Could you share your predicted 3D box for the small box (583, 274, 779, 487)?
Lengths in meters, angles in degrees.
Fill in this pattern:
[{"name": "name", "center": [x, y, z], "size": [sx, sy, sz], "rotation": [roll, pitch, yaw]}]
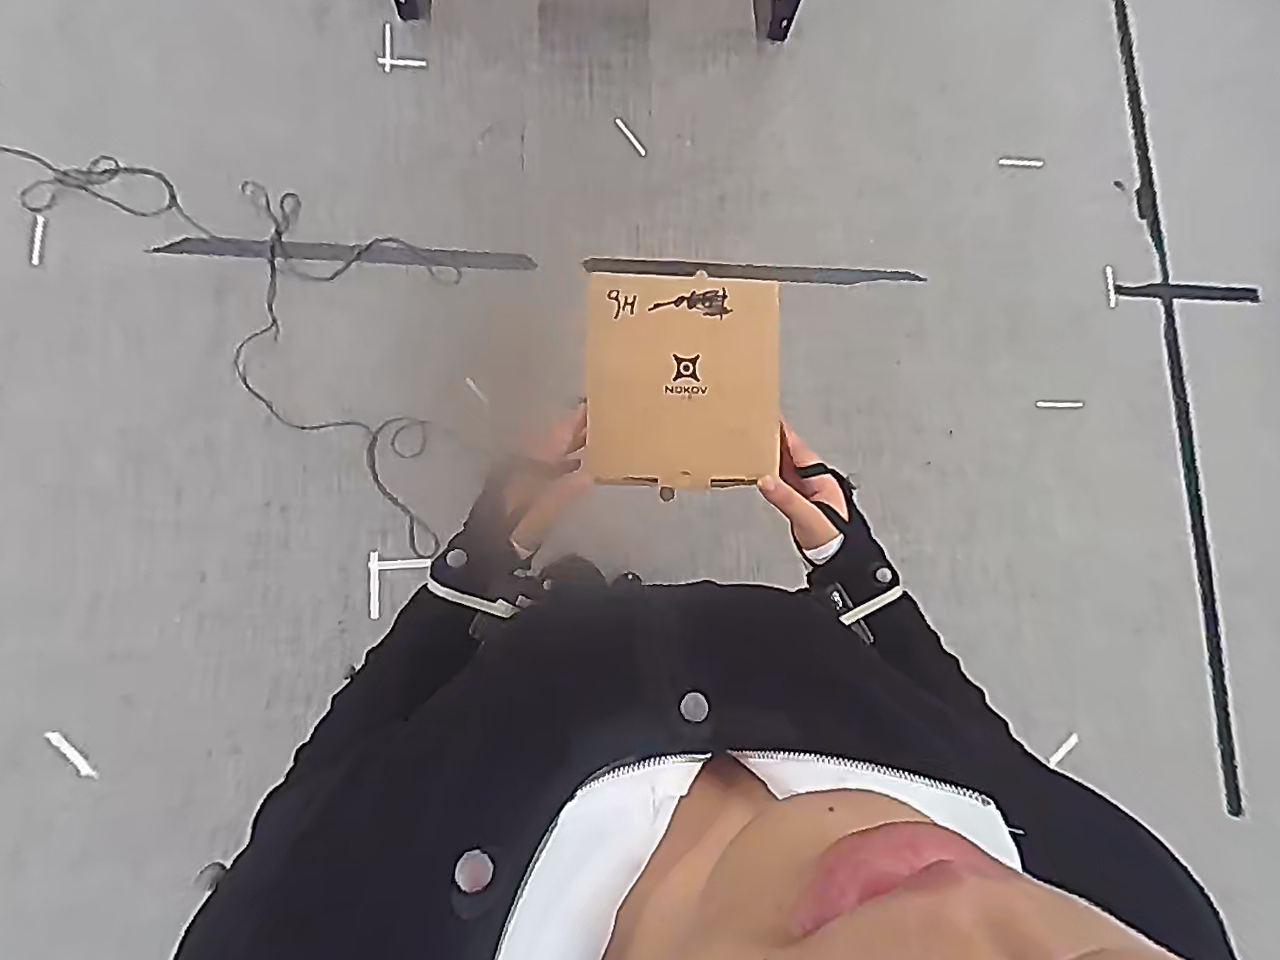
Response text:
[{"name": "small box", "center": [0.029, -0.083, 0.533], "size": [0.168, 0.176, 0.179], "rotation": [0, 89, -5]}]
